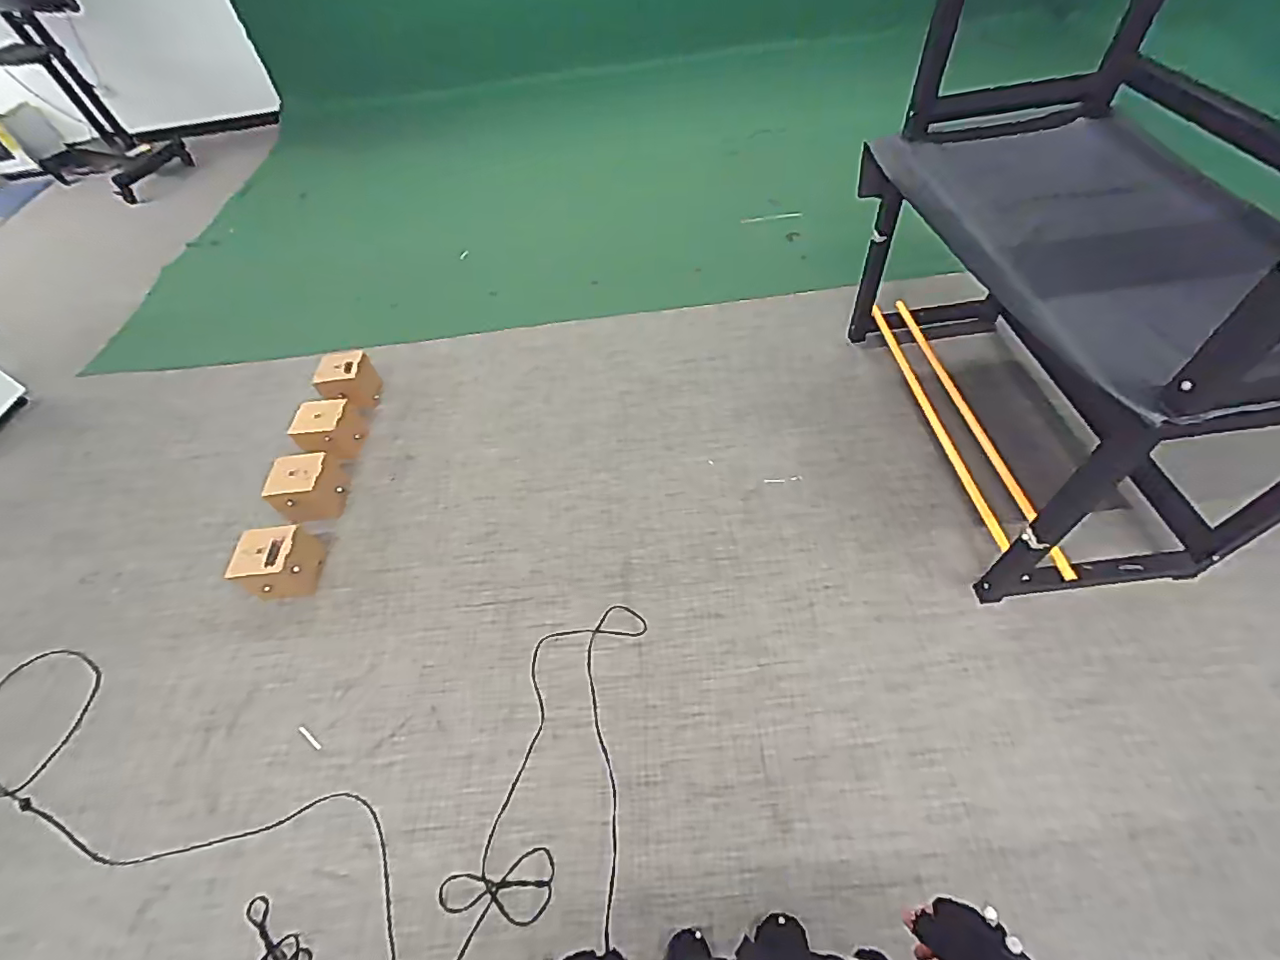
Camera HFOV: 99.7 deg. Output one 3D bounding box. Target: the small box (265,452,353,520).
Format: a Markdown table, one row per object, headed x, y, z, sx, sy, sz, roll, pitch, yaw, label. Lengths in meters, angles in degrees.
| x | y | z | sx | sy | sz | roll | pitch | yaw | label |
| --- | --- | --- | --- | --- | --- | --- | --- | --- | --- |
| -1.134 | 0.025 | 1.868 | 0.179 | 0.176 | 0.168 | -6 | 53 | 2 | small box |

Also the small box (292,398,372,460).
| x | y | z | sx | sy | sz | roll | pitch | yaw | label |
| --- | --- | --- | --- | --- | --- | --- | --- | --- | --- |
| -1.151 | -0.185 | 2.034 | 0.179 | 0.176 | 0.168 | -5 | 52 | 3 | small box |

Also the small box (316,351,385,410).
| x | y | z | sx | sy | sz | roll | pitch | yaw | label |
| --- | --- | --- | --- | --- | --- | --- | --- | --- | --- |
| -1.168 | -0.397 | 2.198 | 0.179 | 0.176 | 0.168 | -8 | 52 | 1 | small box |
